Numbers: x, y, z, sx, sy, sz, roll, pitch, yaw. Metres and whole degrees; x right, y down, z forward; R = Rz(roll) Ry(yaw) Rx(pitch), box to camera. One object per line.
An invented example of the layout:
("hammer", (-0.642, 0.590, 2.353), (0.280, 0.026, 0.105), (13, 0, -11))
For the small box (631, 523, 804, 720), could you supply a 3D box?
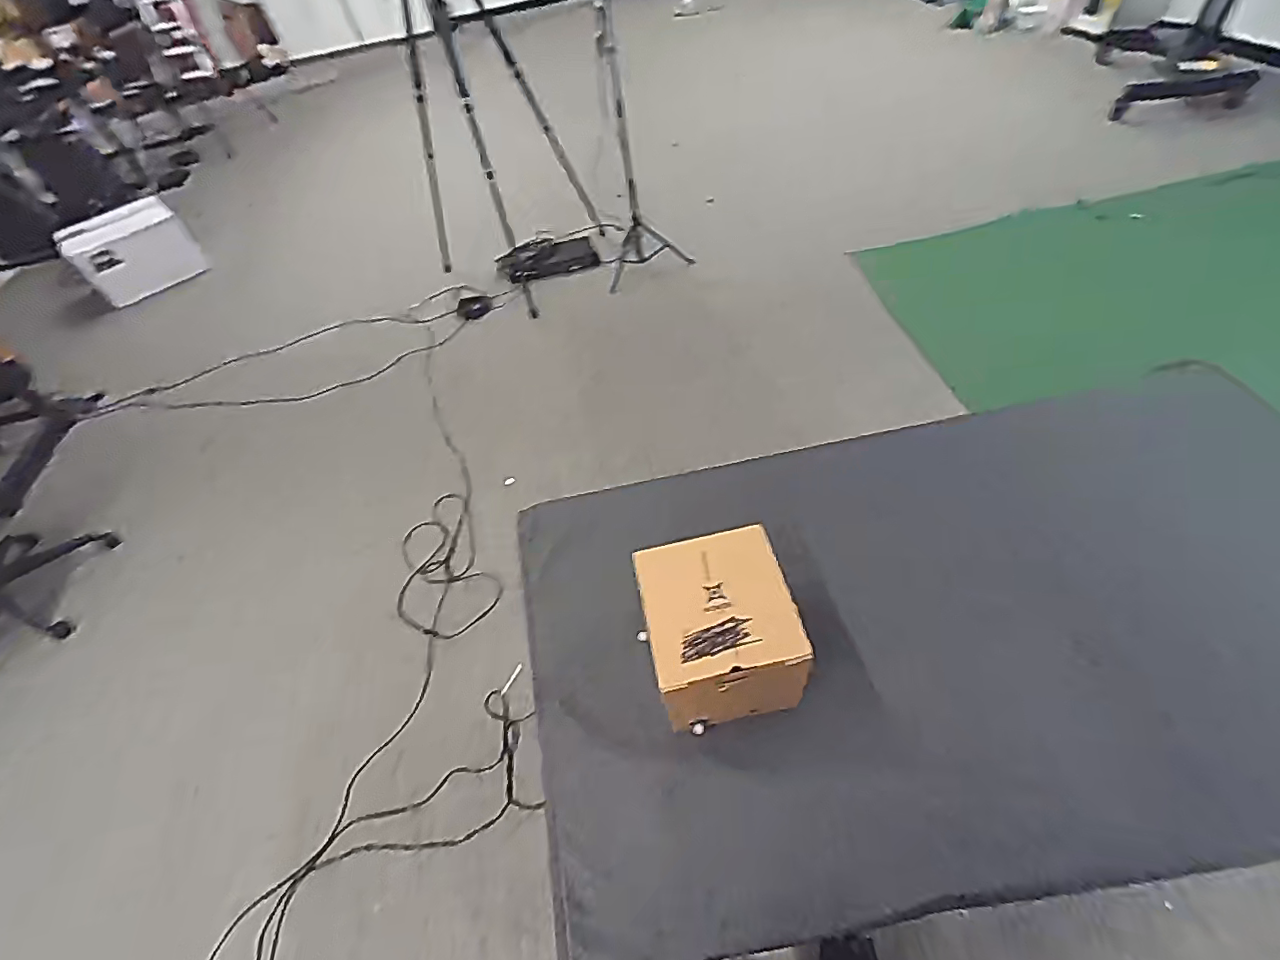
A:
("small box", (0.093, 0.186, 0.681), (0.168, 0.176, 0.179), (-13, 50, -1))
